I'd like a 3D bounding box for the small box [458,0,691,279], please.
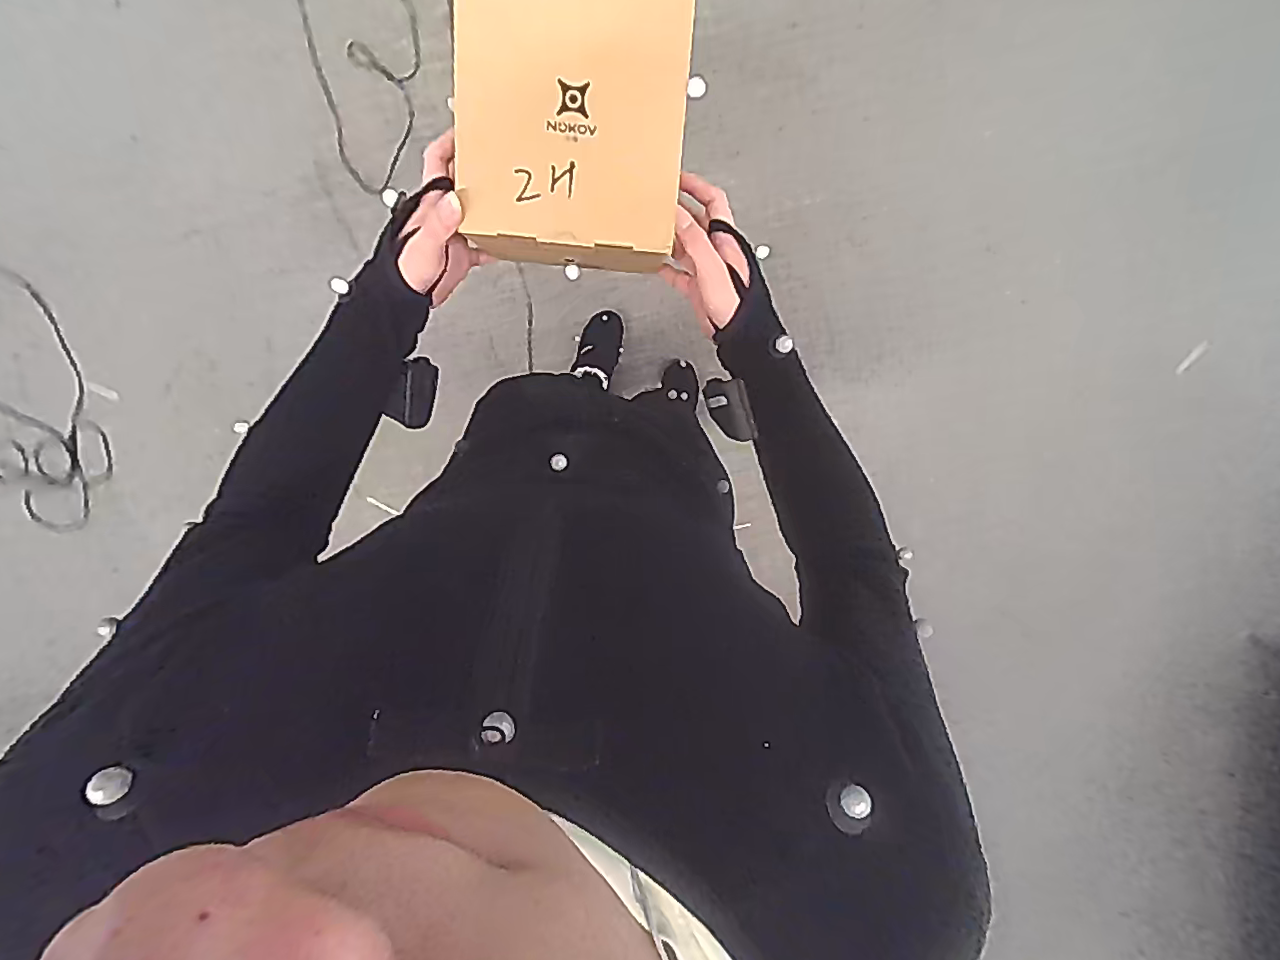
[{"bbox_3d":[-0.056,-0.283,0.475,0.168,0.176,0.179,3,105,-4],"label":"small box"}]
